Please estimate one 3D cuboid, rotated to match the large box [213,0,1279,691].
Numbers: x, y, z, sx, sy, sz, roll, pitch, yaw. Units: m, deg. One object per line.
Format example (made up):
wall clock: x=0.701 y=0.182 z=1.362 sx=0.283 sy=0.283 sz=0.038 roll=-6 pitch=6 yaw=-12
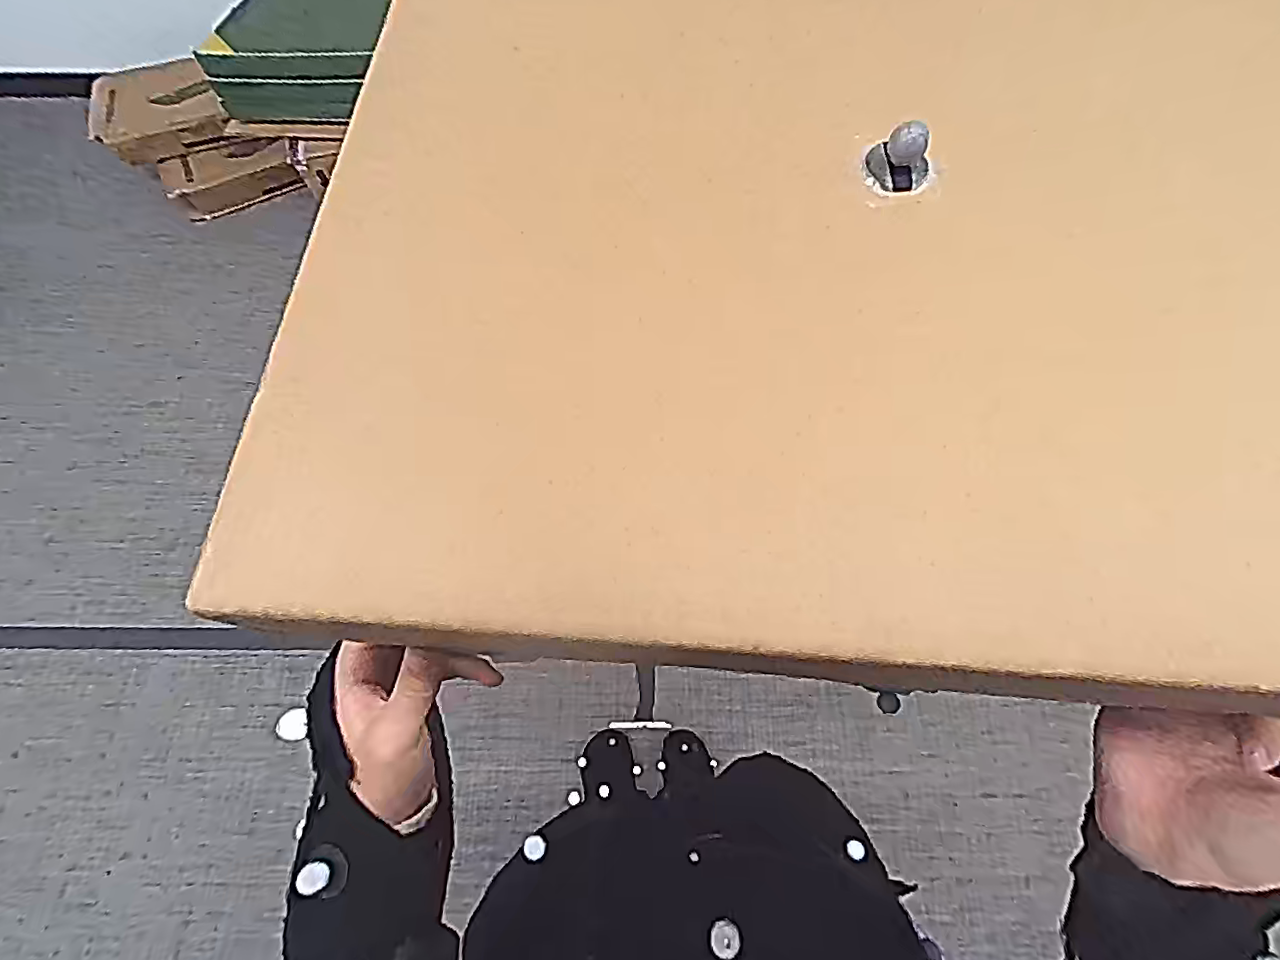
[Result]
large box: x=0.086 y=-0.056 z=0.329 sx=0.408 sy=0.320 sz=0.320 roll=3 pitch=72 yaw=3
